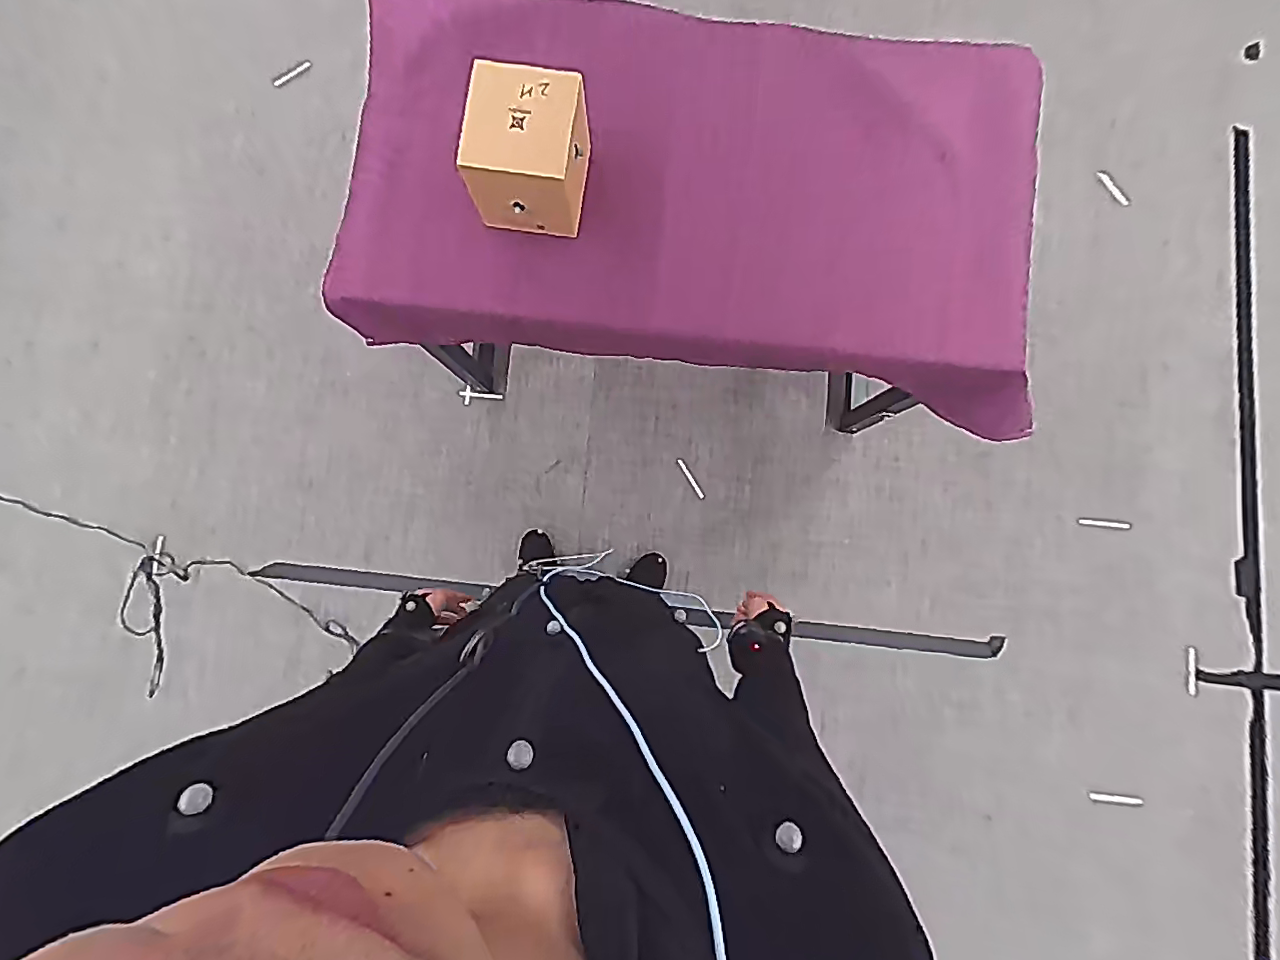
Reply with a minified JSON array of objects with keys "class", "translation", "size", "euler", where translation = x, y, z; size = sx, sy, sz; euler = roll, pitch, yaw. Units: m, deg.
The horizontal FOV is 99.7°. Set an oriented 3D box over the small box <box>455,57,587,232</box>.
[{"class":"small box","translation":[-0.184,-0.538,0.891],"size":[0.168,0.176,0.179],"euler":[8,85,0]}]
